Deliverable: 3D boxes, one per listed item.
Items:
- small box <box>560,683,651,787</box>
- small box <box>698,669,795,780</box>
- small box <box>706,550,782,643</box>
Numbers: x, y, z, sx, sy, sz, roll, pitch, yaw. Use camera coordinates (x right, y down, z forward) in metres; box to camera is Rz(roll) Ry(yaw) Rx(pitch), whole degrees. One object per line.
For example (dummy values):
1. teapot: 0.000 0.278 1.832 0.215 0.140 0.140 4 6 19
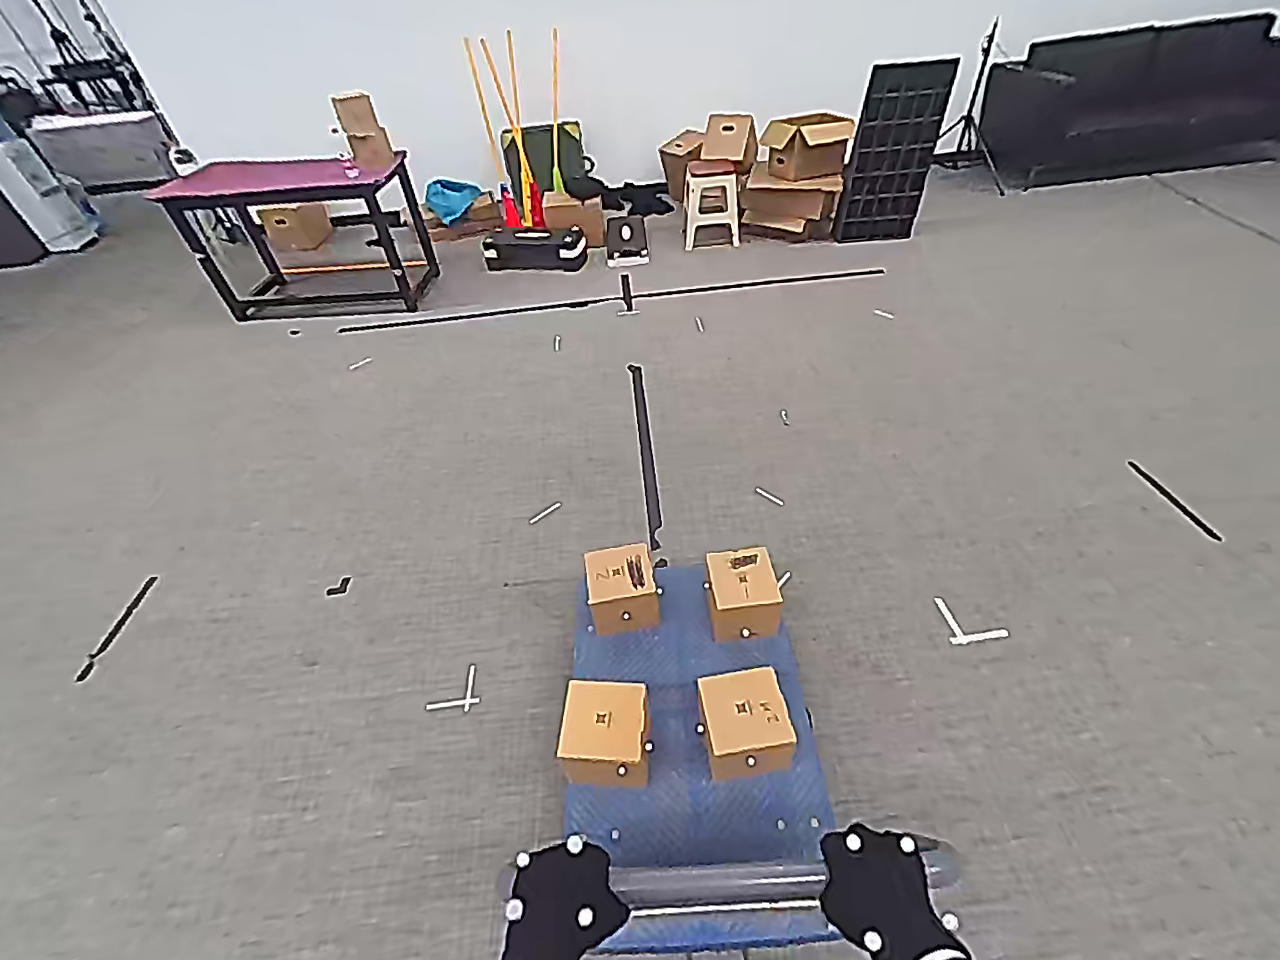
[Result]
1. small box: -0.071 0.578 1.224 0.179 0.176 0.168 1 44 5
2. small box: 0.233 0.552 1.216 0.179 0.176 0.168 -9 44 -2
3. small box: 0.272 0.314 1.455 0.168 0.176 0.179 -7 45 -1
